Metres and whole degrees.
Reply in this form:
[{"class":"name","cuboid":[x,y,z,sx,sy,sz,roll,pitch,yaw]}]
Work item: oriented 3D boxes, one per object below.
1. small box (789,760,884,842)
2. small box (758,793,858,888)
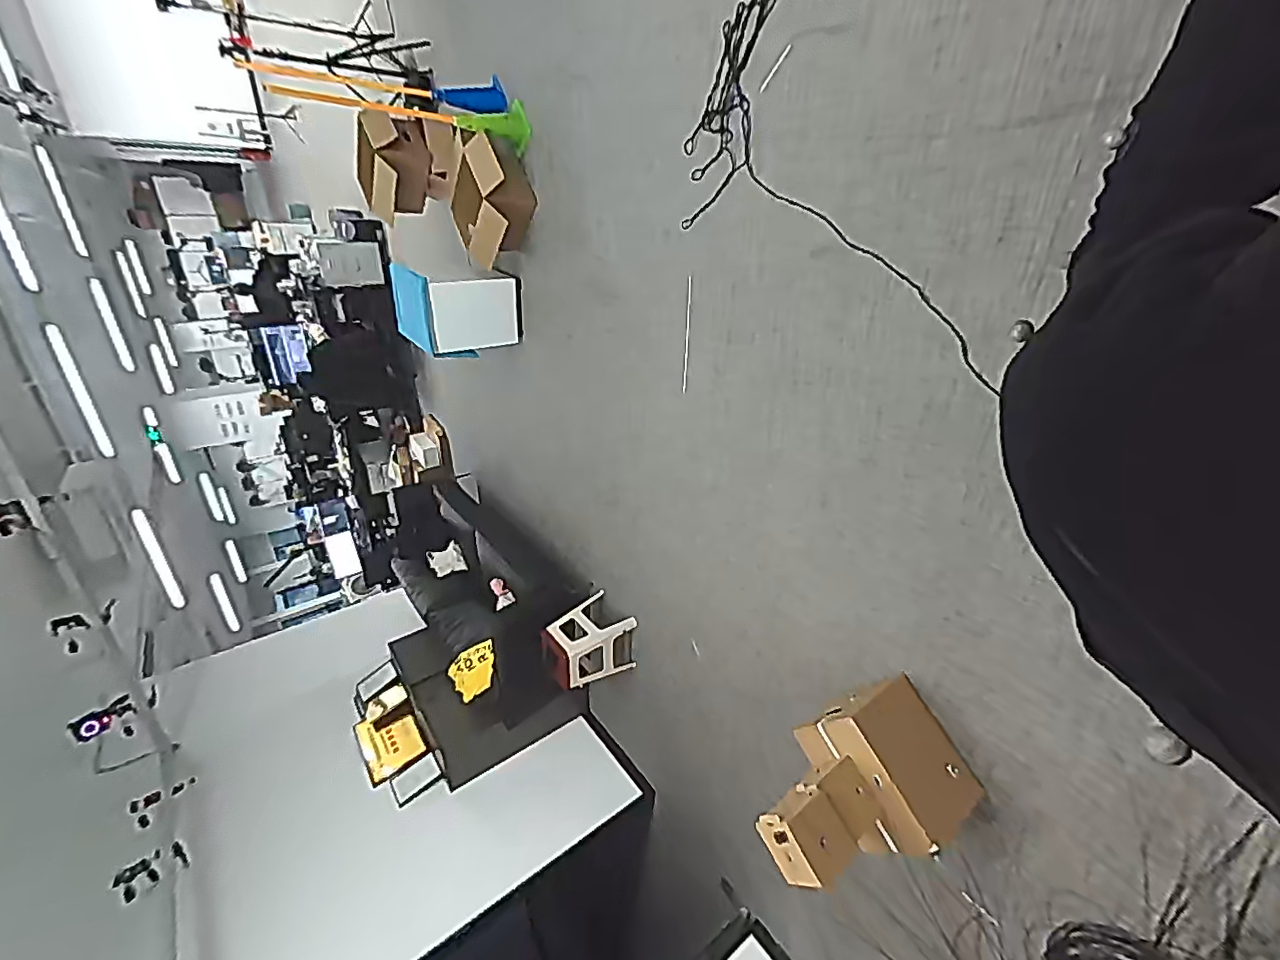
[{"class":"small box","cuboid":[0.606,0.991,1.669,0.179,0.176,0.168,57,145,22]},{"class":"small box","cuboid":[0.485,1.032,1.564,0.179,0.176,0.168,58,145,18]}]
